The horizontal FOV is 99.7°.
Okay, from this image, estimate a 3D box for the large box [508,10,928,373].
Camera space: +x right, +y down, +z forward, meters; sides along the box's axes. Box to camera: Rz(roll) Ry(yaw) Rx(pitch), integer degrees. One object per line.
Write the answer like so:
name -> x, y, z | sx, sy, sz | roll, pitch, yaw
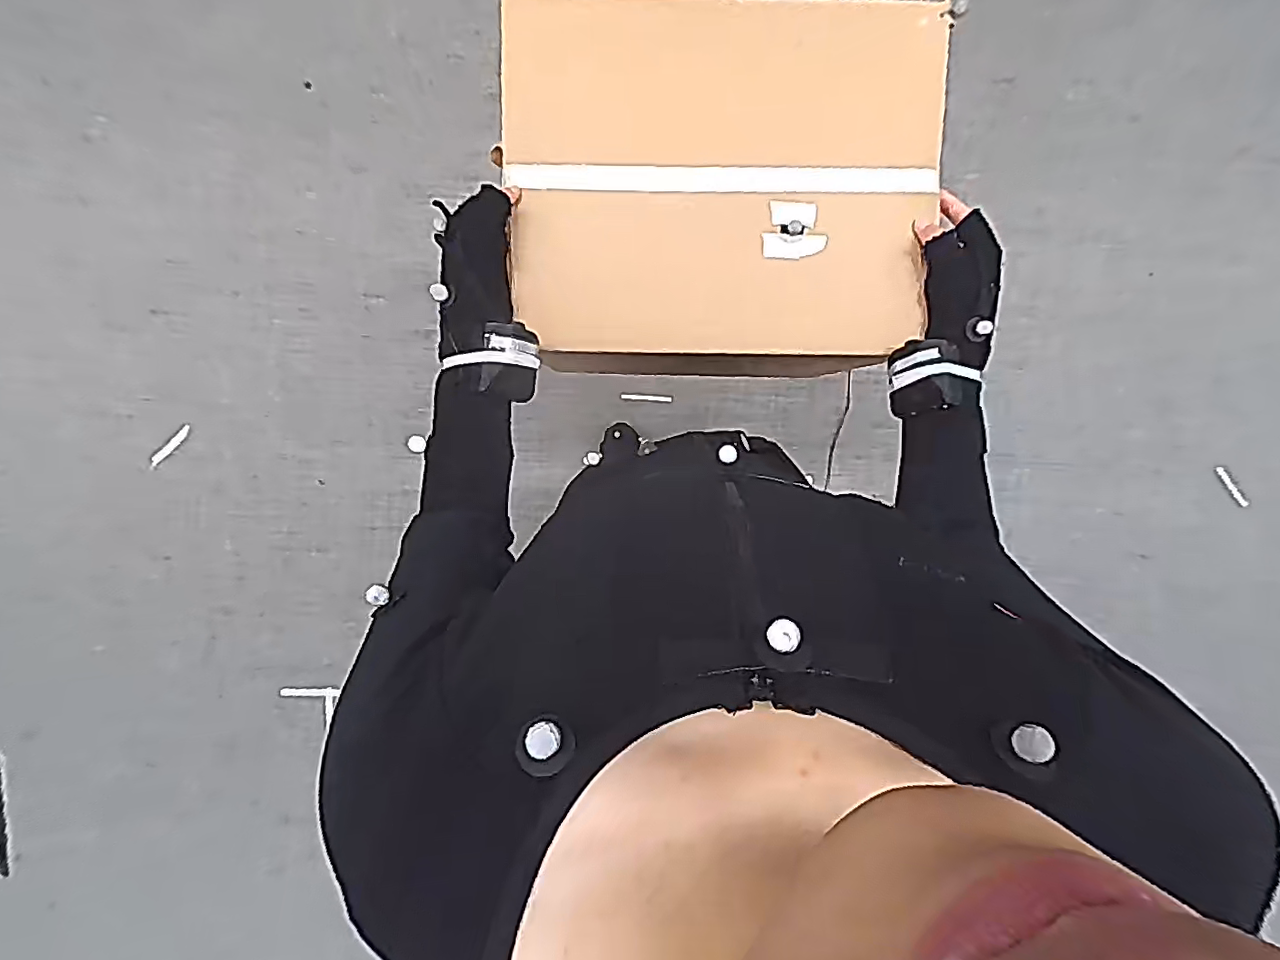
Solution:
large box -> 0.071, -0.304, 0.671 | 0.408, 0.320, 0.320 | 0, 98, -1
